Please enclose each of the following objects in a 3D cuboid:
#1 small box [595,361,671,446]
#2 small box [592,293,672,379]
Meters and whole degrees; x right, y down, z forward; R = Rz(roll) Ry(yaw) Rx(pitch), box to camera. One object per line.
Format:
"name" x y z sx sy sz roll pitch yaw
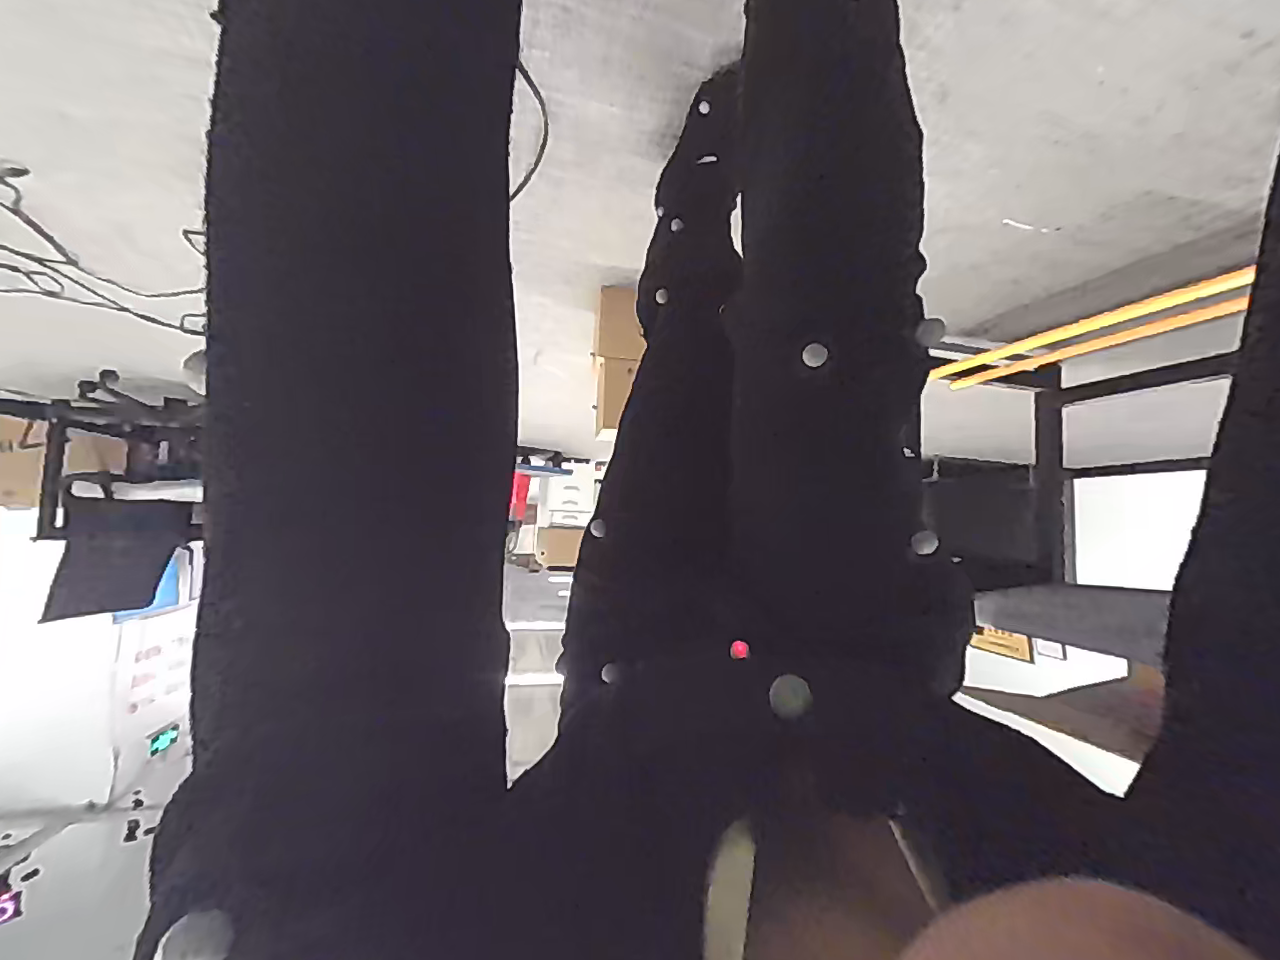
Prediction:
"small box" -0.019 -0.181 1.316 0.168 0.176 0.179 2 174 -9
"small box" -0.023 -0.344 1.323 0.179 0.176 0.168 2 175 -9
